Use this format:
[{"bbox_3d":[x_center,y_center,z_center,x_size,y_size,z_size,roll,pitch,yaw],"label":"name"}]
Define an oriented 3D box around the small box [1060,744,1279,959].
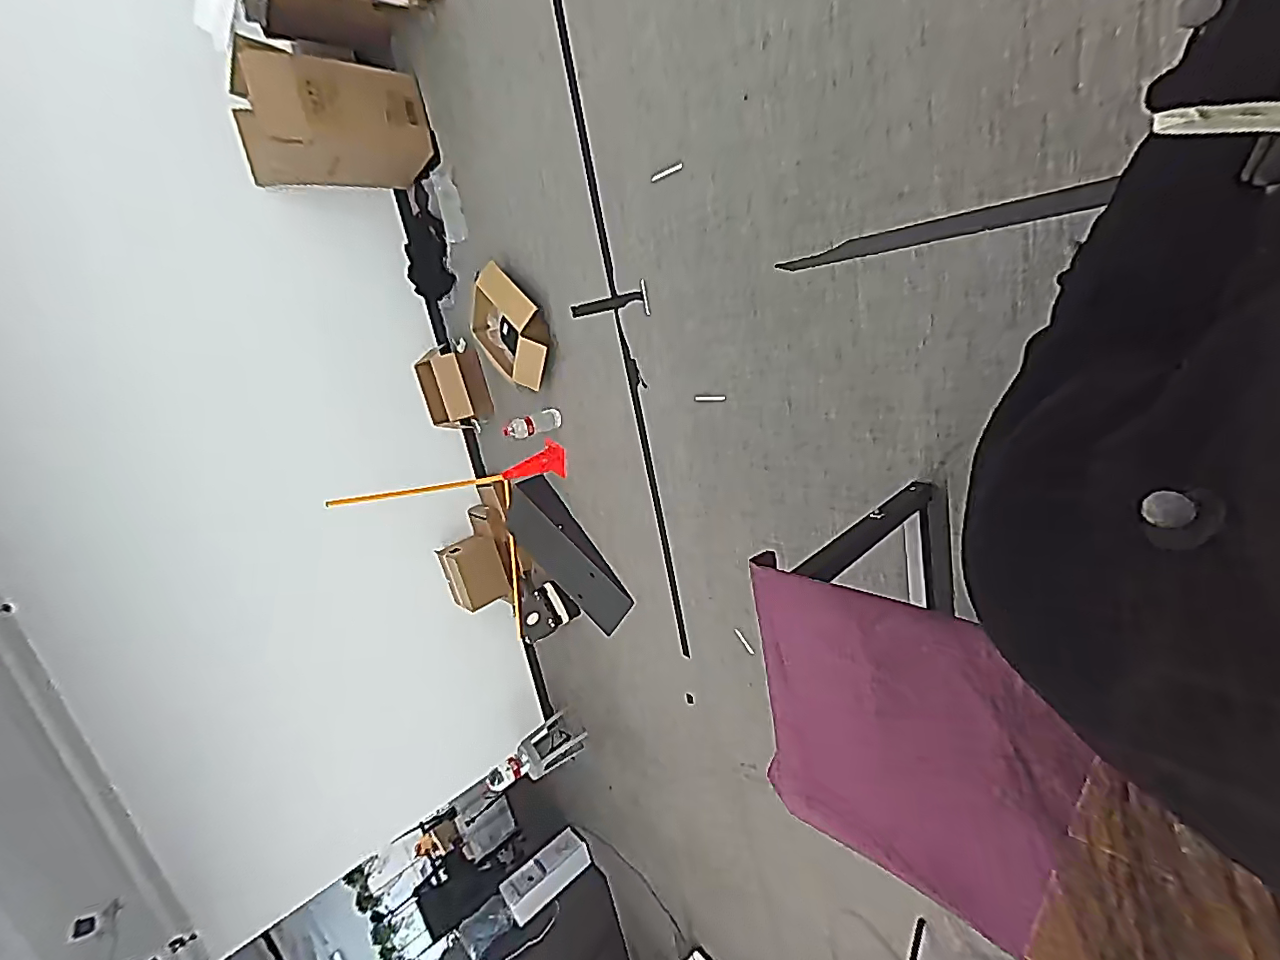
[{"bbox_3d":[0.630,0.465,0.644,0.168,0.176,0.179,11,118,48],"label":"small box"}]
